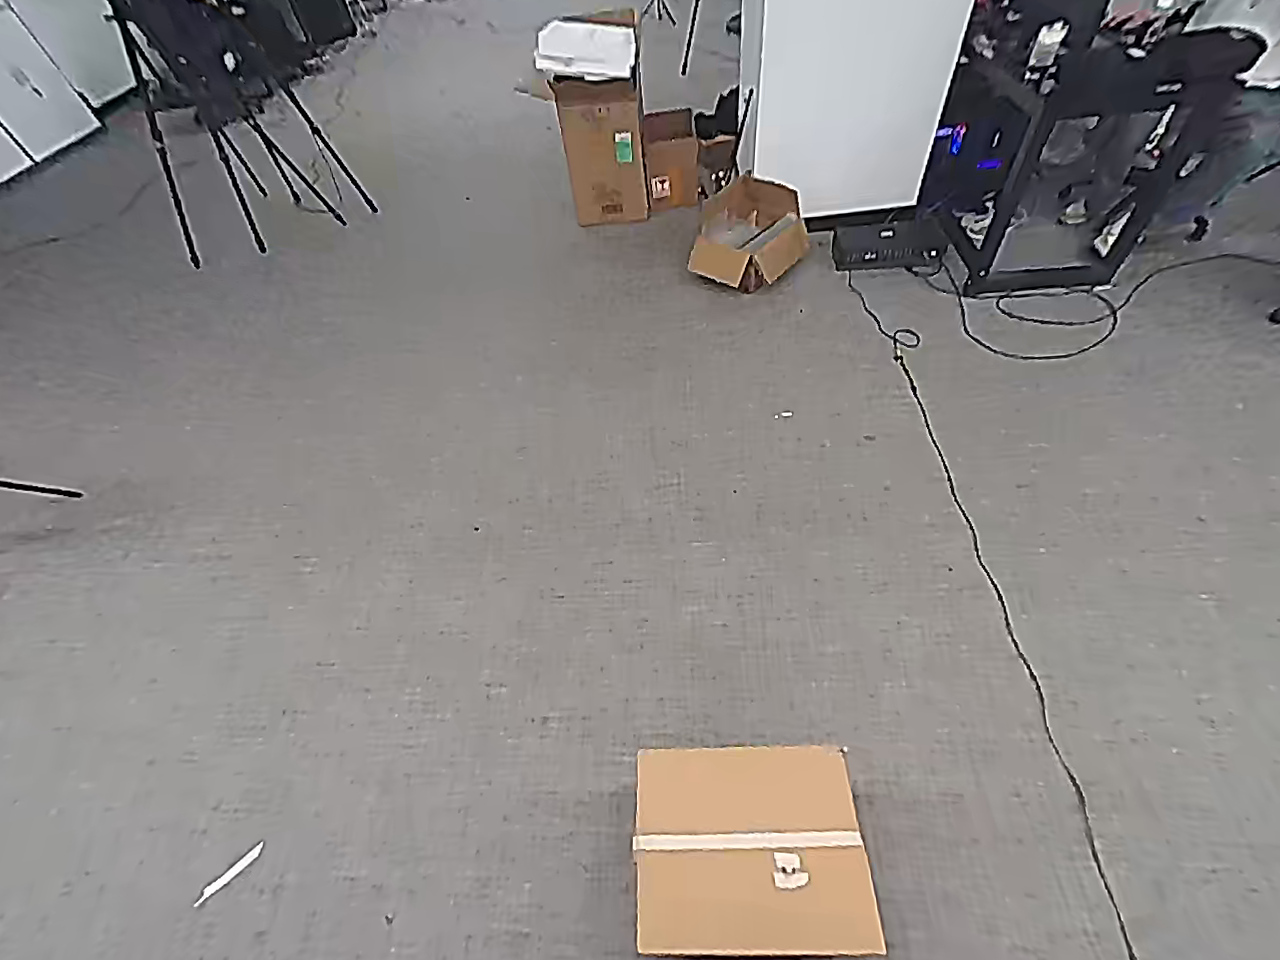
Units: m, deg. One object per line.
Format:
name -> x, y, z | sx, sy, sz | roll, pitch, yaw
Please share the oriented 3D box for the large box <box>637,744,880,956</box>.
large box -> 0.207, 0.752, 1.100 | 0.408, 0.320, 0.320 | -4, 51, 4
